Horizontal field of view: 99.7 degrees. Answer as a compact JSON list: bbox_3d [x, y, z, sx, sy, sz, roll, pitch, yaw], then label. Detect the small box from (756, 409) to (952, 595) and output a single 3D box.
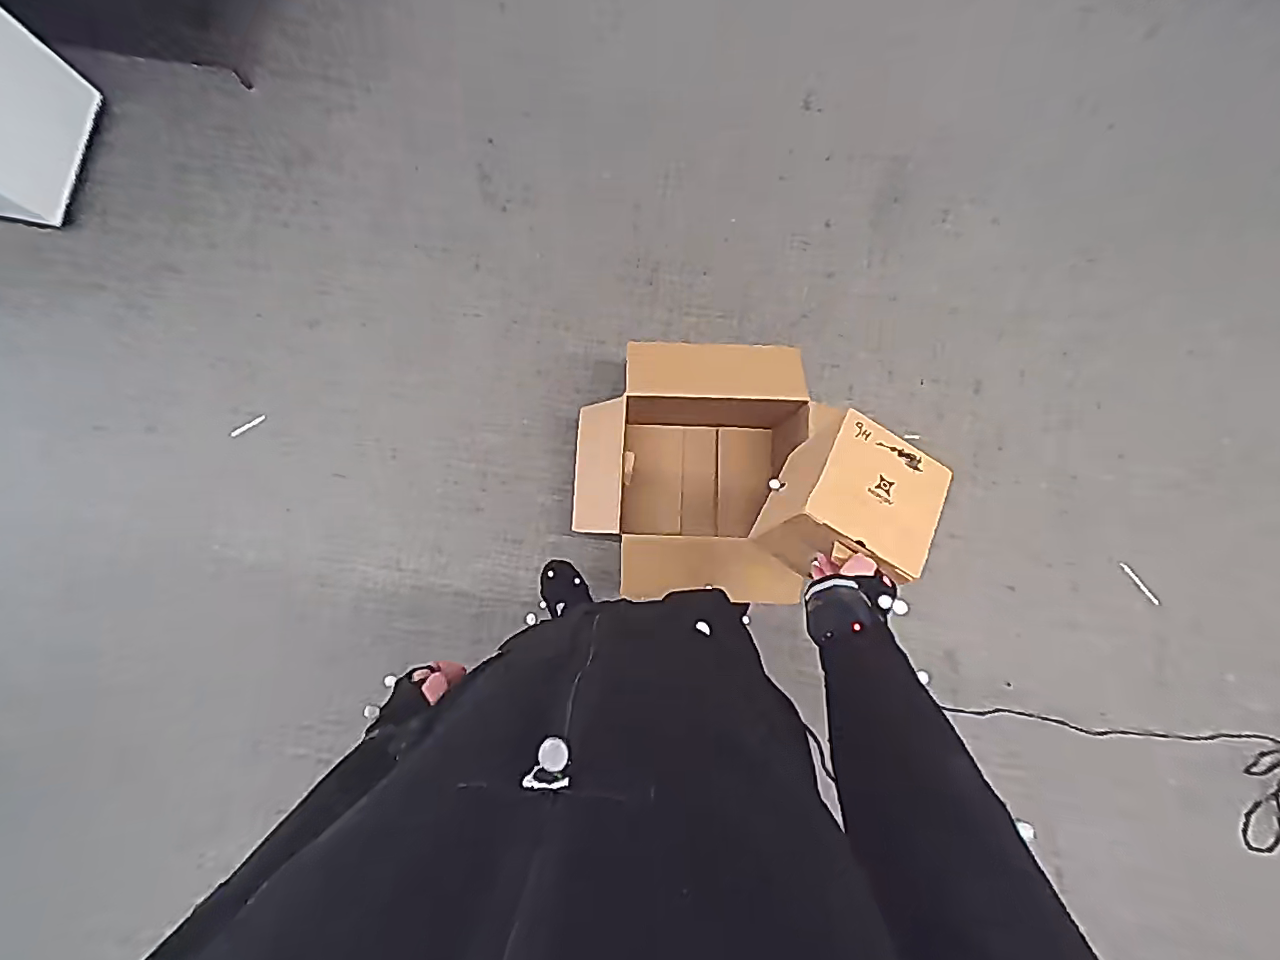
[{"bbox_3d":[0.286,0.041,0.757,0.168,0.176,0.179,34,66,0],"label":"small box"}]
